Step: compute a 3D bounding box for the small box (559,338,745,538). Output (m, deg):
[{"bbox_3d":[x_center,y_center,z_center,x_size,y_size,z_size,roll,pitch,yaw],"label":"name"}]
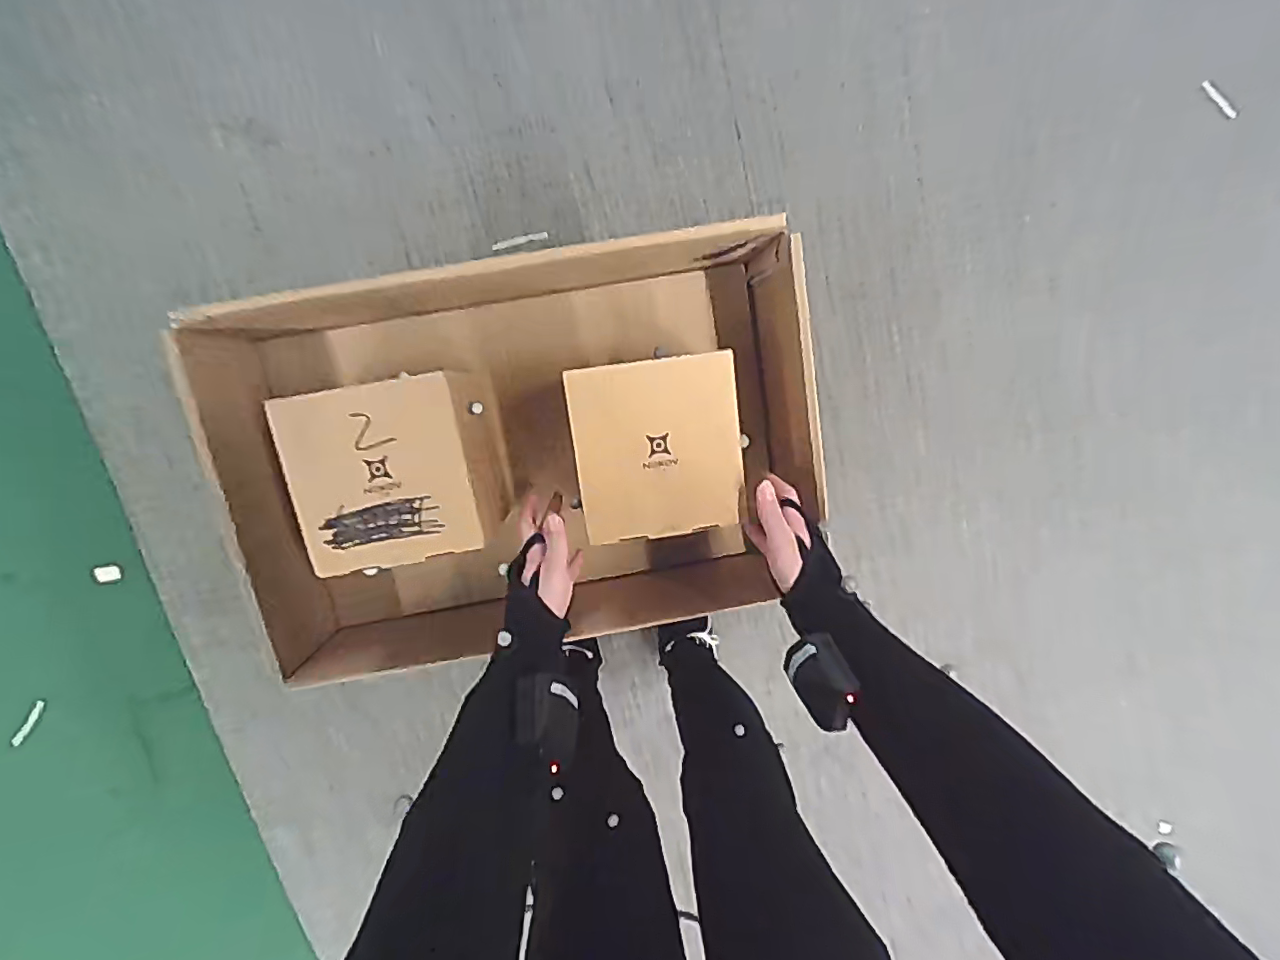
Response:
[{"bbox_3d":[0.008,-0.052,0.598,0.168,0.176,0.179,-9,102,-2],"label":"small box"}]
